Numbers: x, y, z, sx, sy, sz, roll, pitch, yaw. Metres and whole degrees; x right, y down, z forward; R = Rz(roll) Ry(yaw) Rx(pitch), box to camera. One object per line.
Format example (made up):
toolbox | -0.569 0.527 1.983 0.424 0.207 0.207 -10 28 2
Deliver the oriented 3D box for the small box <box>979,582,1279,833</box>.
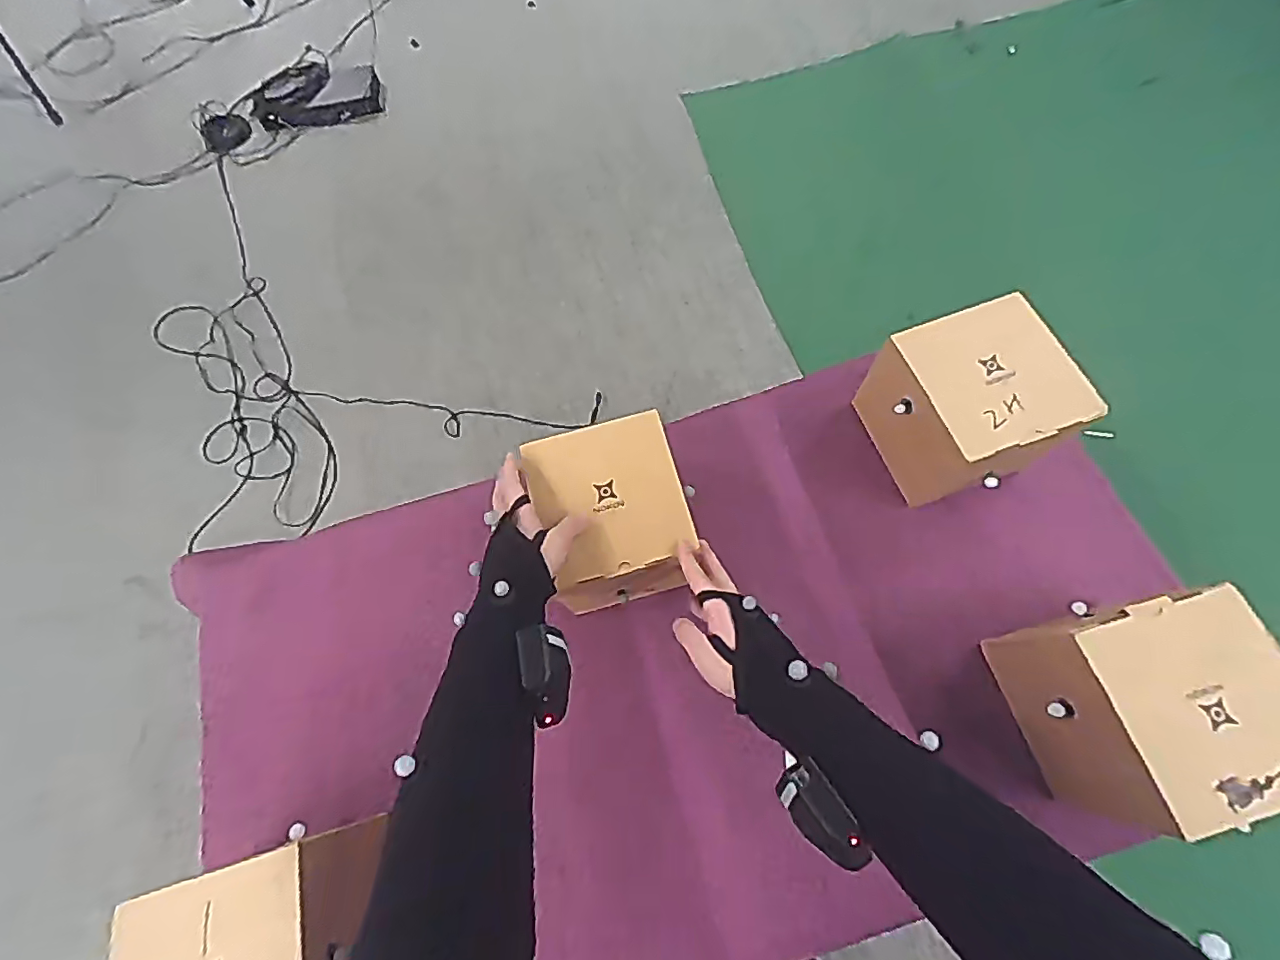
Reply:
small box | 0.494 0.222 0.552 0.168 0.176 0.179 -17 69 0

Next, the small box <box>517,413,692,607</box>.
small box | -0.040 0.046 0.672 0.168 0.176 0.179 -16 71 -1

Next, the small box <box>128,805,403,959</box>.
small box | -0.359 0.459 0.544 0.168 0.176 0.179 -17 67 -2

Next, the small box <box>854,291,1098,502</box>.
small box | 0.394 -0.095 0.678 0.168 0.176 0.179 -19 70 1
